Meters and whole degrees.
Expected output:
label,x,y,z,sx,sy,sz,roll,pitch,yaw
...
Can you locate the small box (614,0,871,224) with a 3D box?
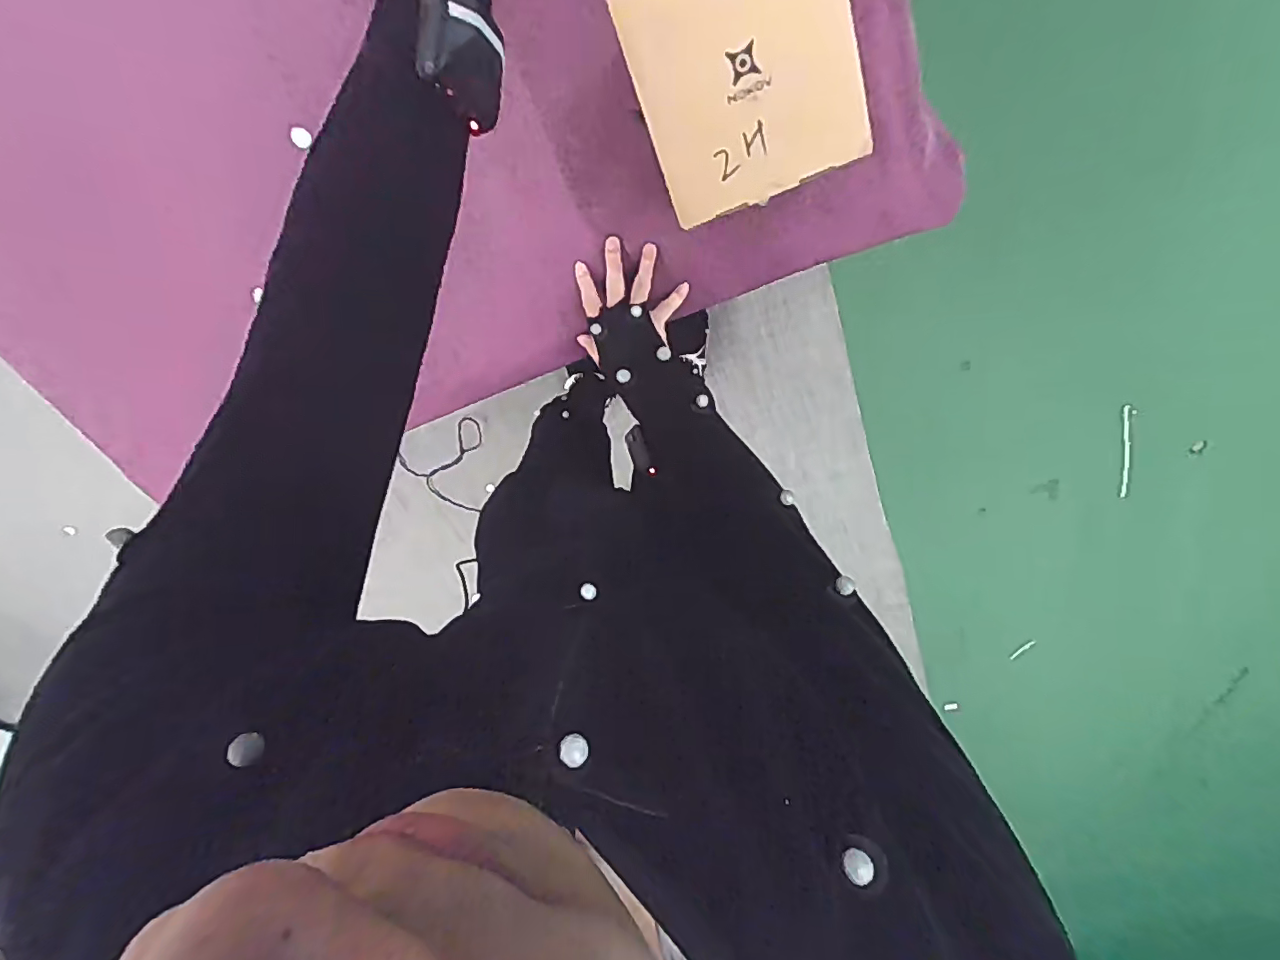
label,x,y,z,sx,sy,sz,roll,pitch,yaw
small box,0.088,-0.355,0.486,0.168,0.176,0.179,-16,119,15
